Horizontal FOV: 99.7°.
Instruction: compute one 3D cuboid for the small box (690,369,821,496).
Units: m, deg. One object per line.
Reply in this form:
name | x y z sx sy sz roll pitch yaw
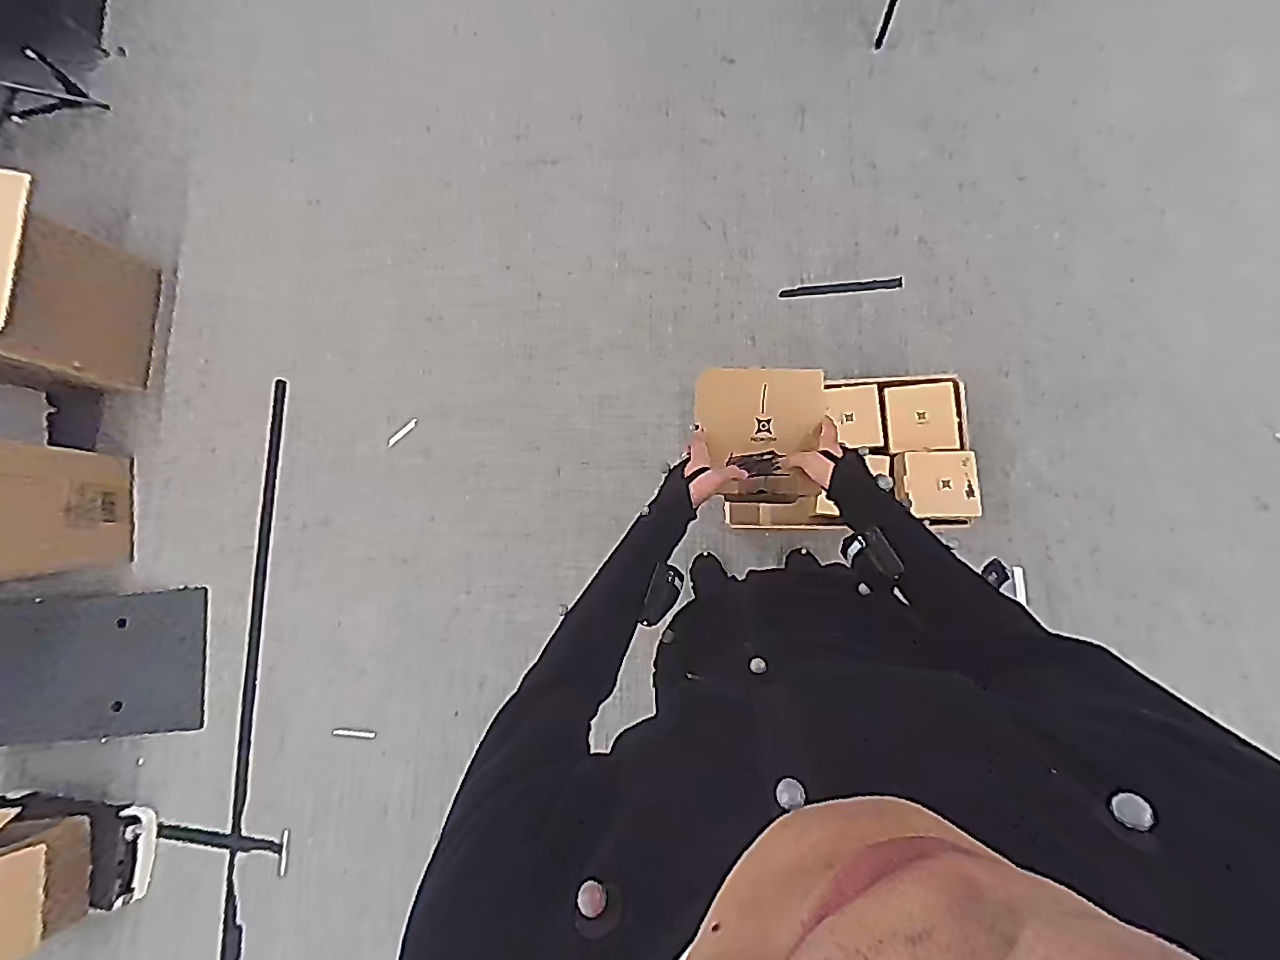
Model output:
small box | 0.166 -0.072 0.822 0.168 0.176 0.179 0 94 1
